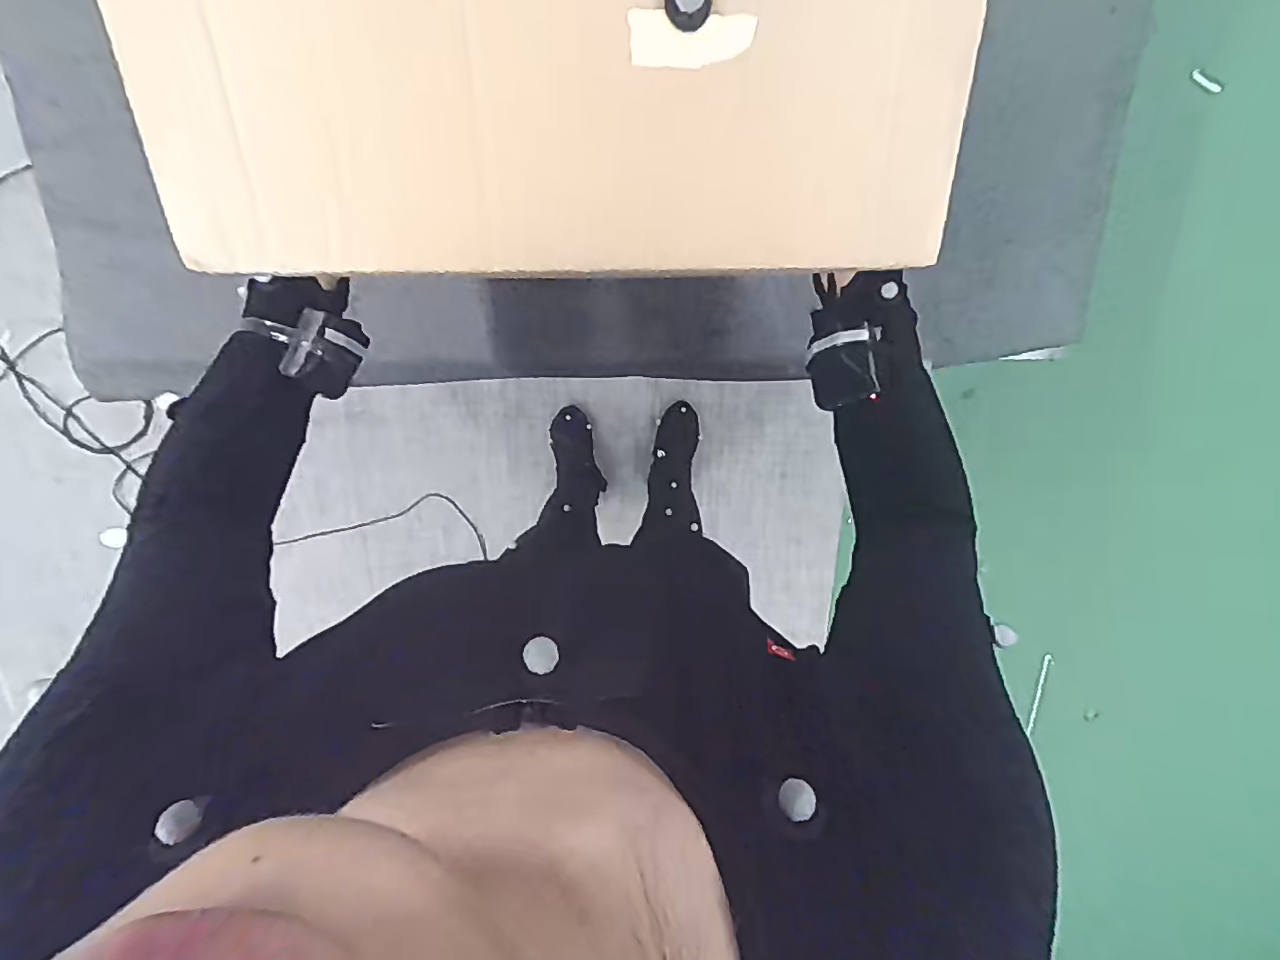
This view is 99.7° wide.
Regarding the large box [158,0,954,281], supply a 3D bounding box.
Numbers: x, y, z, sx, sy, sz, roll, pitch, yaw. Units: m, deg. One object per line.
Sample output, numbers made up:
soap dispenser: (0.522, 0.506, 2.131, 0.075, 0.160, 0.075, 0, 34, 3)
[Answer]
large box: (-0.044, -0.320, 0.400, 0.408, 0.320, 0.320, -1, 111, 0)
